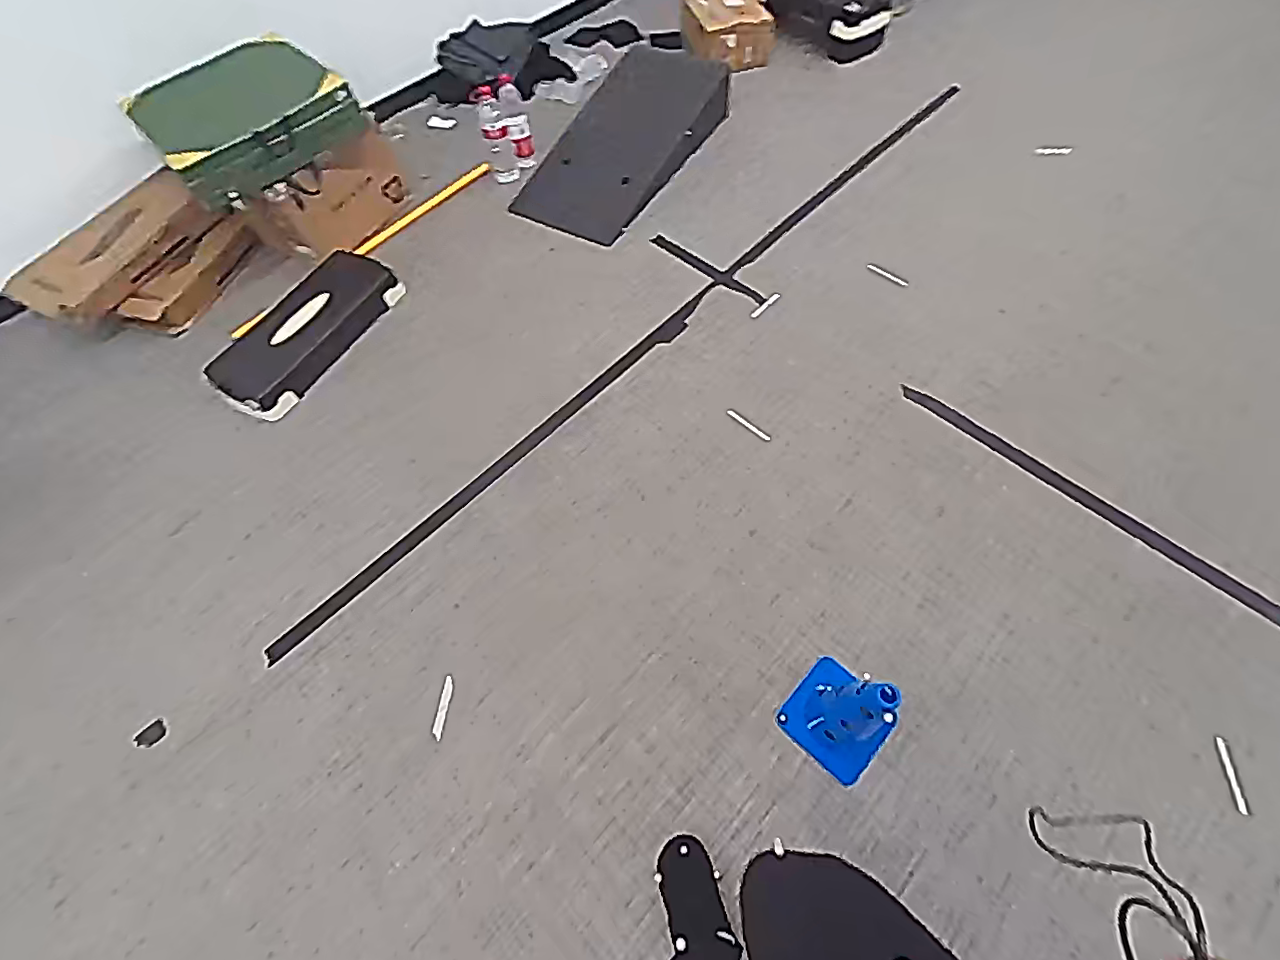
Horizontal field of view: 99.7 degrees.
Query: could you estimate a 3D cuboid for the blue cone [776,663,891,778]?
[{"bbox_3d":[0.409,0.441,1.038,0.192,0.380,0.193,-43,66,-17],"label":"blue cone"}]
